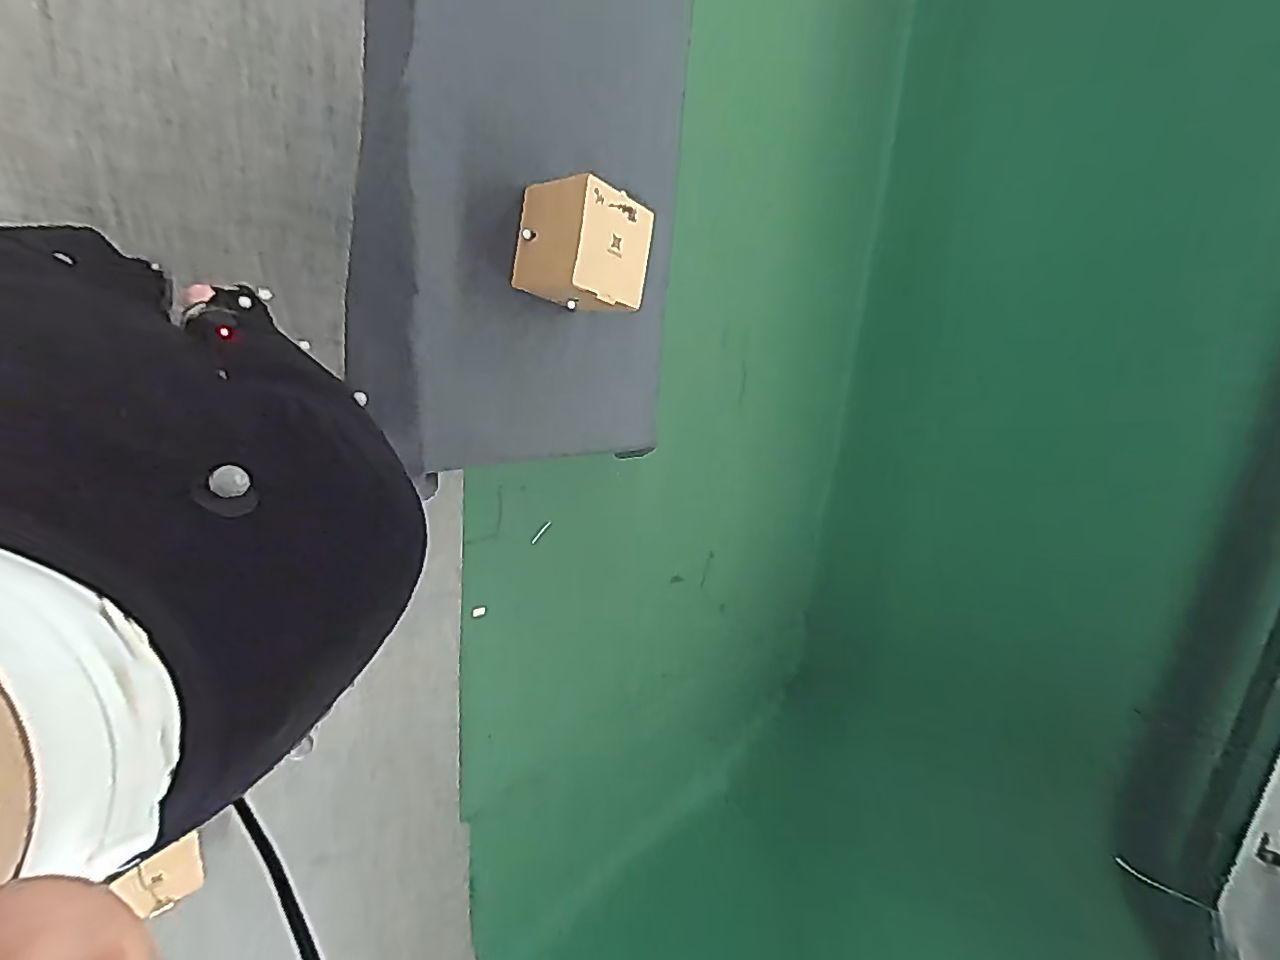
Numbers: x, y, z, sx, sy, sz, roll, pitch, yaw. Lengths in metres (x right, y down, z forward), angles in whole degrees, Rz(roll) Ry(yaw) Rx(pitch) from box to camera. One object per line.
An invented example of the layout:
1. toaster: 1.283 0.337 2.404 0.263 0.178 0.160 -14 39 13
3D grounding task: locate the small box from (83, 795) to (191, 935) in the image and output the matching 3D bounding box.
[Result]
1. small box: -1.202 0.907 1.295 0.168 0.176 0.179 -8 109 -51

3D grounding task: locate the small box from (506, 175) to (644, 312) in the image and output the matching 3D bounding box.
1. small box: -0.121 -0.414 0.974 0.168 0.176 0.179 2 102 -50
